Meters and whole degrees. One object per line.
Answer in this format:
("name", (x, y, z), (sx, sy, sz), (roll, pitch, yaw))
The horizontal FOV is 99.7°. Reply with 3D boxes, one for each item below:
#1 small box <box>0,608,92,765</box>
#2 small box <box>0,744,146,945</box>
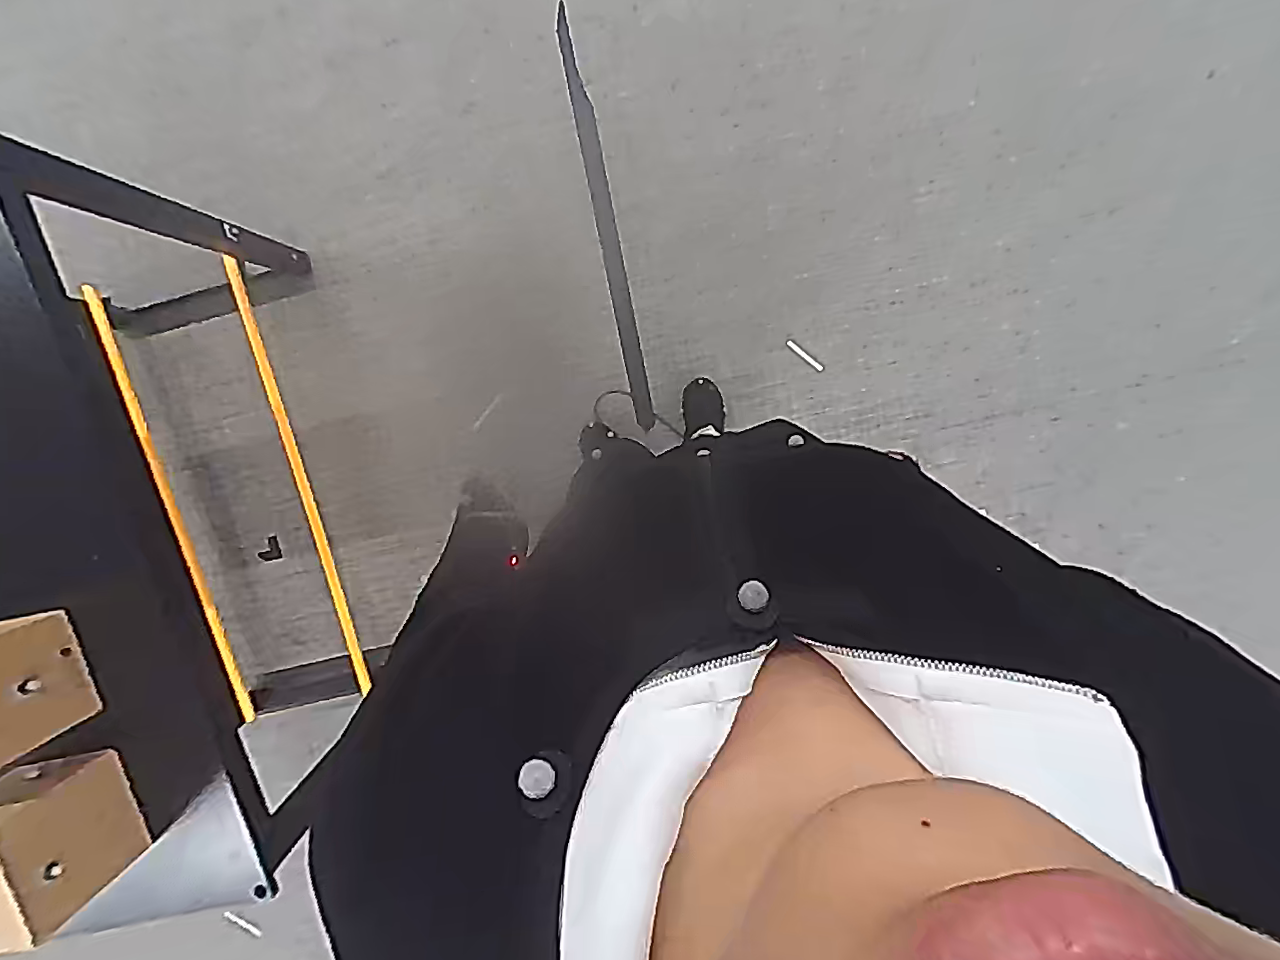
("small box", (-0.919, 0.292, 0.739), (0.179, 0.176, 0.168), (-11, 99, 2))
("small box", (-0.875, 0.518, 0.775), (0.168, 0.176, 0.179), (-12, 98, 3))
